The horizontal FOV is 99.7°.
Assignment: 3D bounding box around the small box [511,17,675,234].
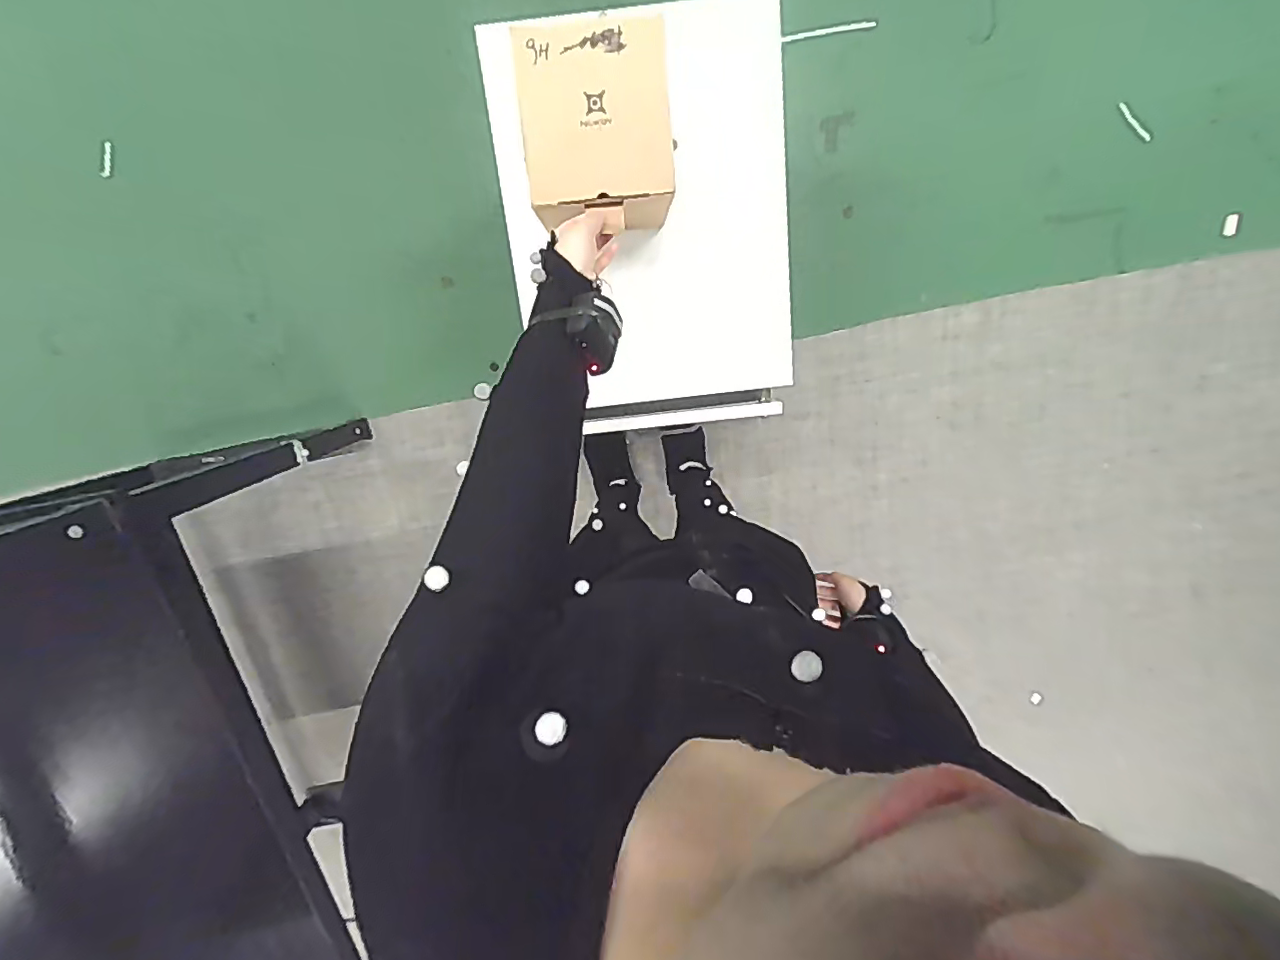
[{"bbox_3d":[-0.047,-0.404,0.652,0.168,0.176,0.179,-5,104,0],"label":"small box"}]
